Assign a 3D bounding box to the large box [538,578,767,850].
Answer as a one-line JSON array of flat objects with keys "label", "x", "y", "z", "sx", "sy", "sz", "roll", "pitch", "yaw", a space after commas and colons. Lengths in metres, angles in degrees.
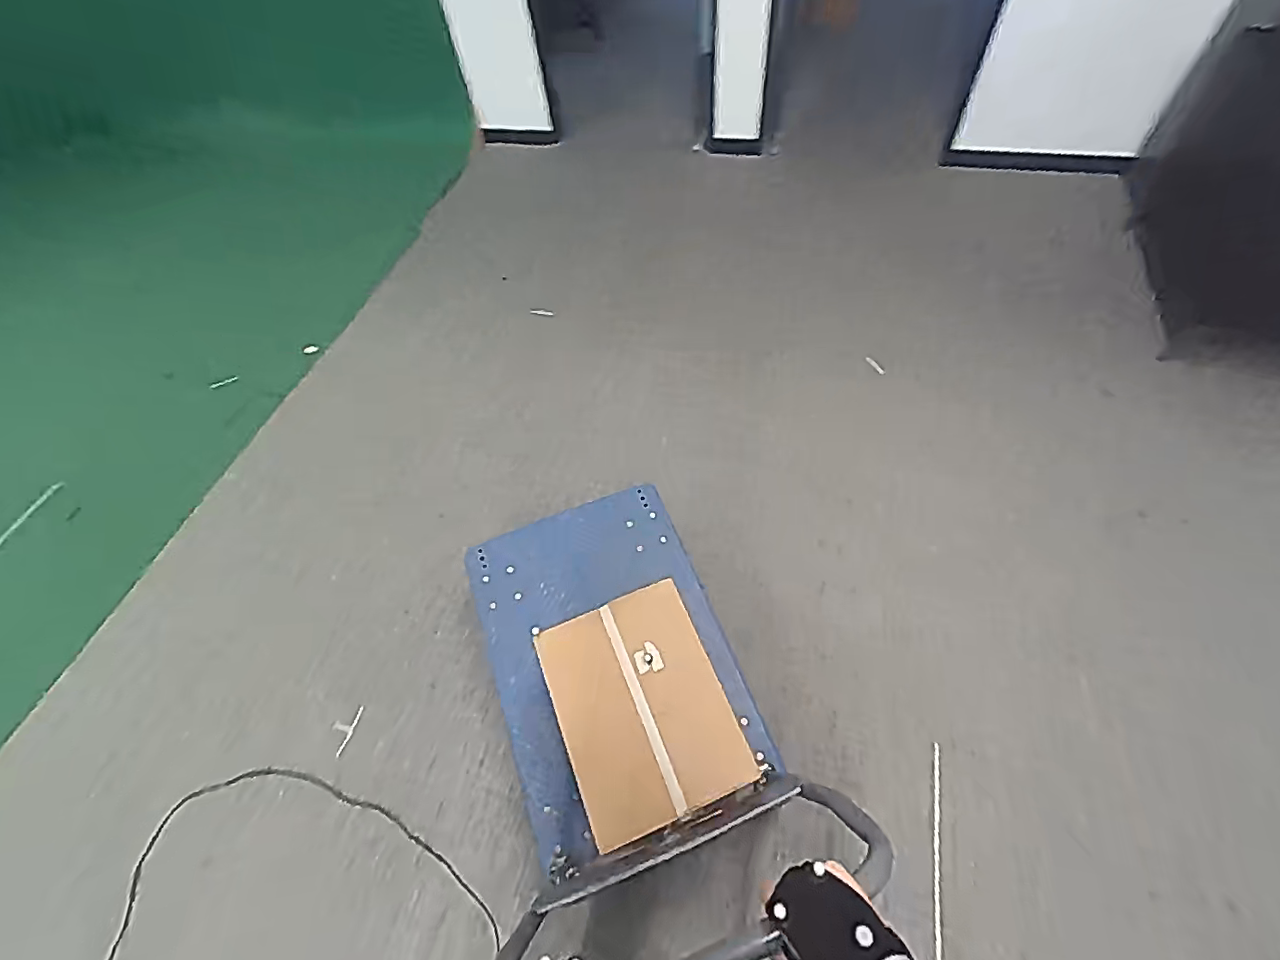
[{"label": "large box", "x": 0.021, "y": 0.488, "z": 1.153, "sx": 0.320, "sy": 0.320, "sz": 0.408, "roll": -22, "pitch": 62, "yaw": -9}]
